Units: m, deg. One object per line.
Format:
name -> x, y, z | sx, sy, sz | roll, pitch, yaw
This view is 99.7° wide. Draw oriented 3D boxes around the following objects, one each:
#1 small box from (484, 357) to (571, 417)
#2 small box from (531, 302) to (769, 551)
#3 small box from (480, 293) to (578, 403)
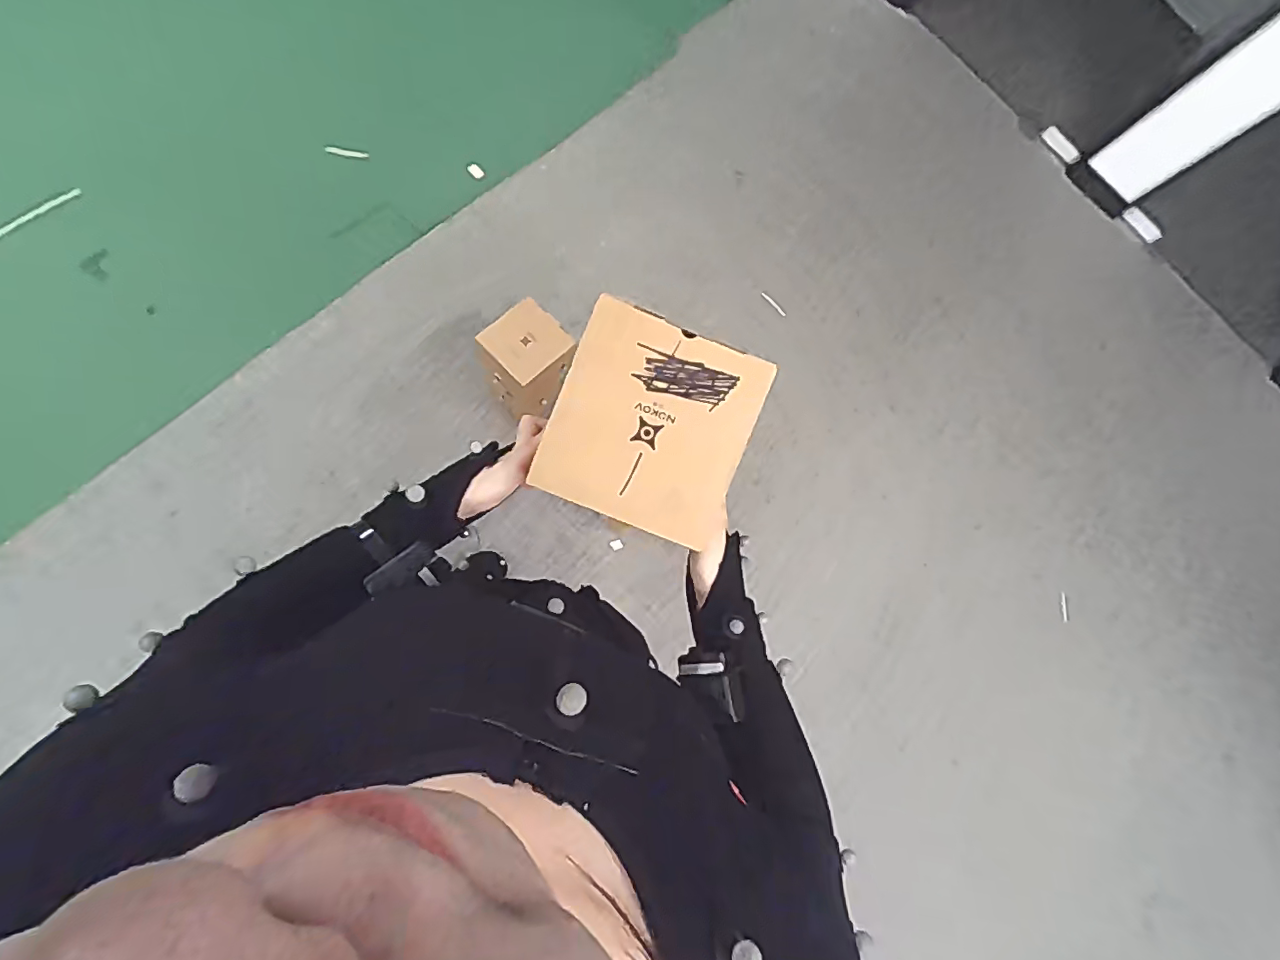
small box -> -0.312, -0.302, 1.524 | 0.179, 0.176, 0.168 | -41, 90, -14
small box -> 0.004, -0.050, 0.553 | 0.168, 0.176, 0.179 | 21, 93, -4
small box -> -0.279, -0.327, 1.367 | 0.168, 0.176, 0.179 | 45, 76, 0
